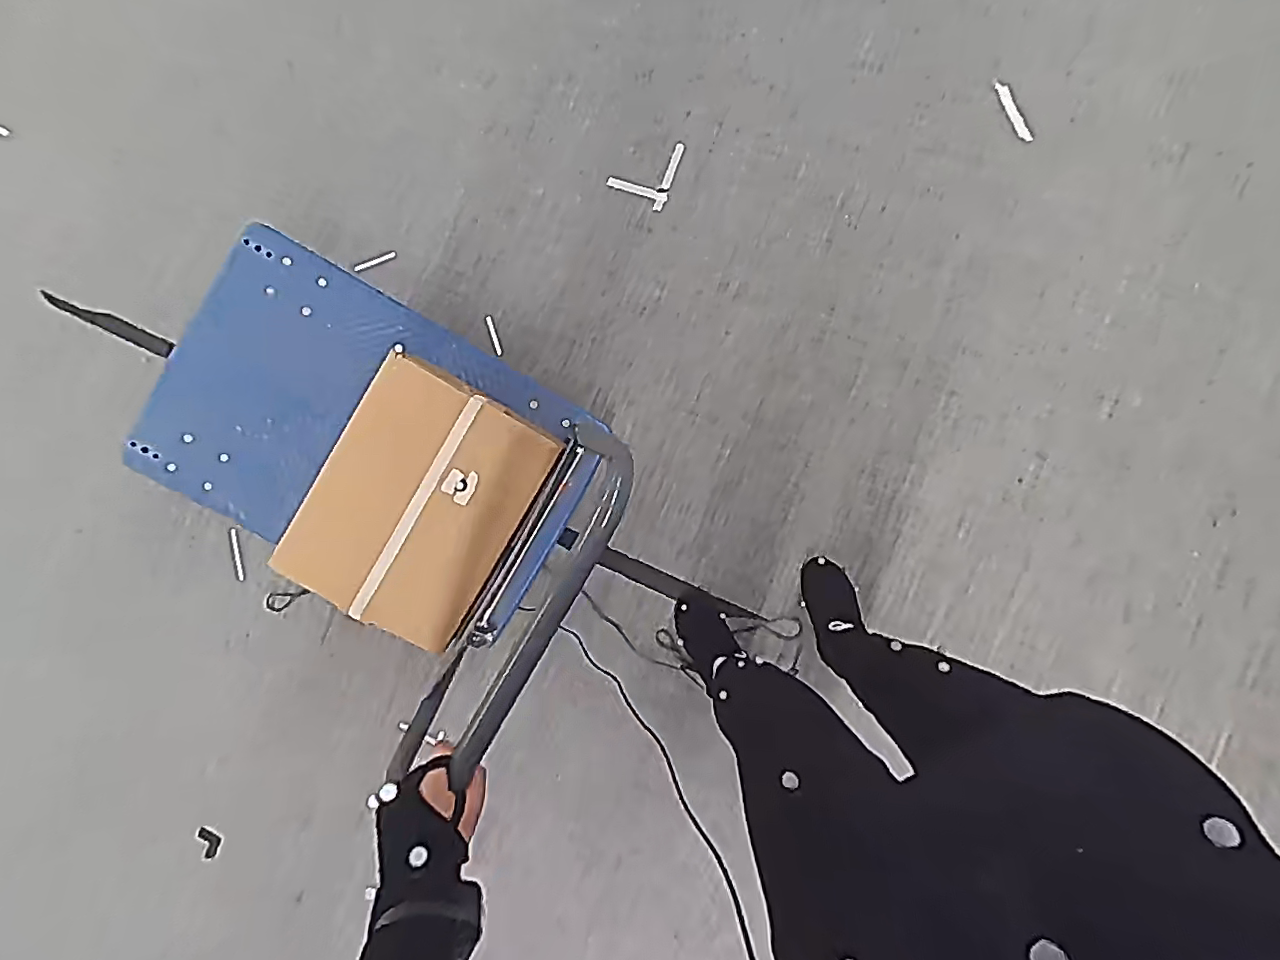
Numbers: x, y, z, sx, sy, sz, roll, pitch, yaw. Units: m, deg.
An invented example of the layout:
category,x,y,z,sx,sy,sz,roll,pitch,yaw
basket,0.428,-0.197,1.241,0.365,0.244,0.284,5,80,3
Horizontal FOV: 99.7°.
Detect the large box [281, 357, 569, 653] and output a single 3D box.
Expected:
category,x,y,z,sx,sy,sz,roll,pitch,yaw
large box,-0.369,0.041,1.033,0.320,0.320,0.408,30,90,-6
